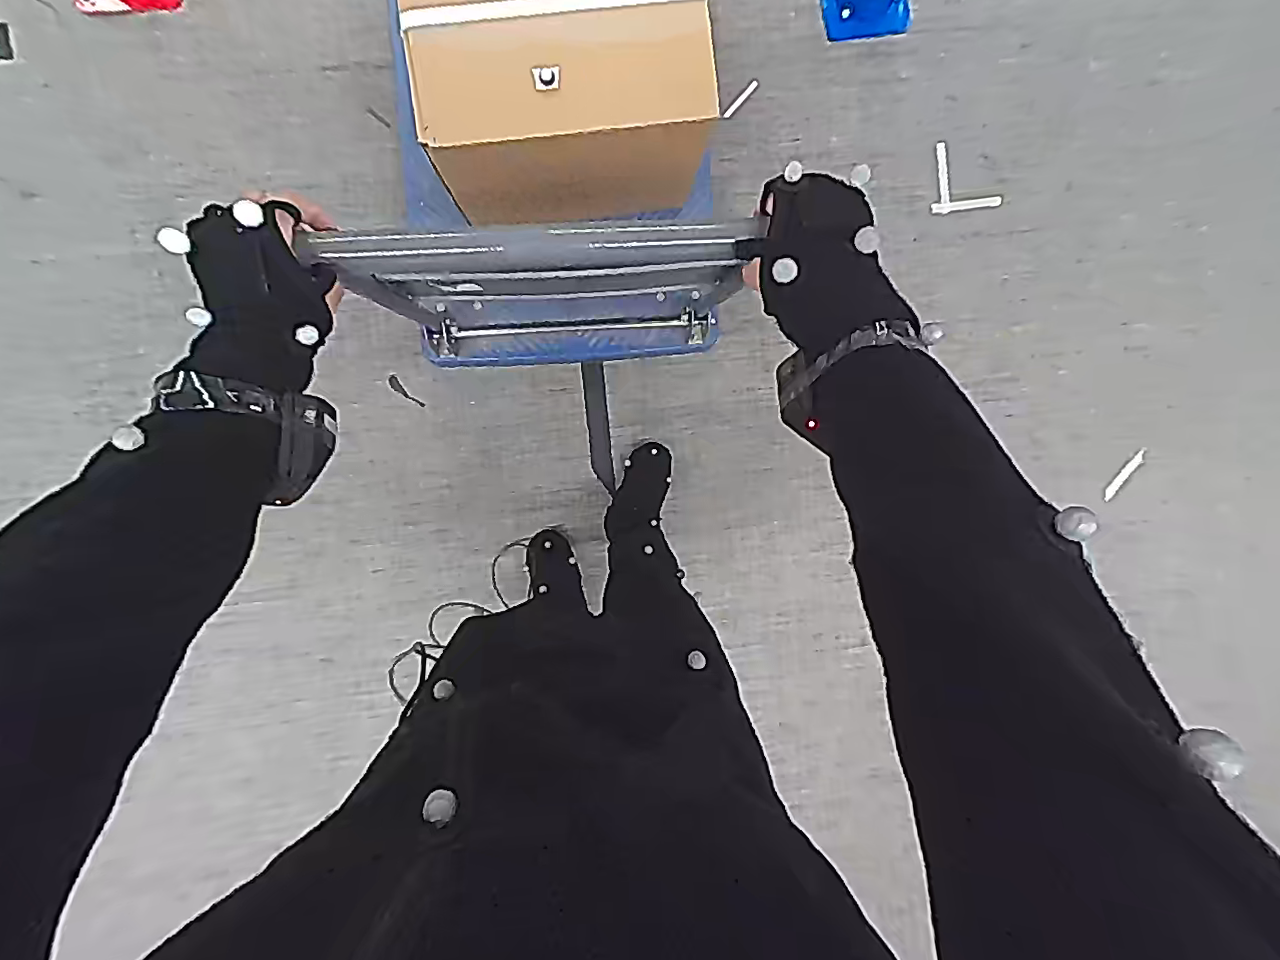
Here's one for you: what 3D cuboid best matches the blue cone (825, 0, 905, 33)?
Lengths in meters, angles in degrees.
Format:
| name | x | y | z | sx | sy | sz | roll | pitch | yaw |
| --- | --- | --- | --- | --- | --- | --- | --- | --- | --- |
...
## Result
| name | x | y | z | sx | sy | sz | roll | pitch | yaw |
| --- | --- | --- | --- | --- | --- | --- | --- | --- | --- |
| blue cone | 0.510 | -1.092 | 1.044 | 0.193 | 0.380 | 0.192 | -10 | 95 | -4 |
